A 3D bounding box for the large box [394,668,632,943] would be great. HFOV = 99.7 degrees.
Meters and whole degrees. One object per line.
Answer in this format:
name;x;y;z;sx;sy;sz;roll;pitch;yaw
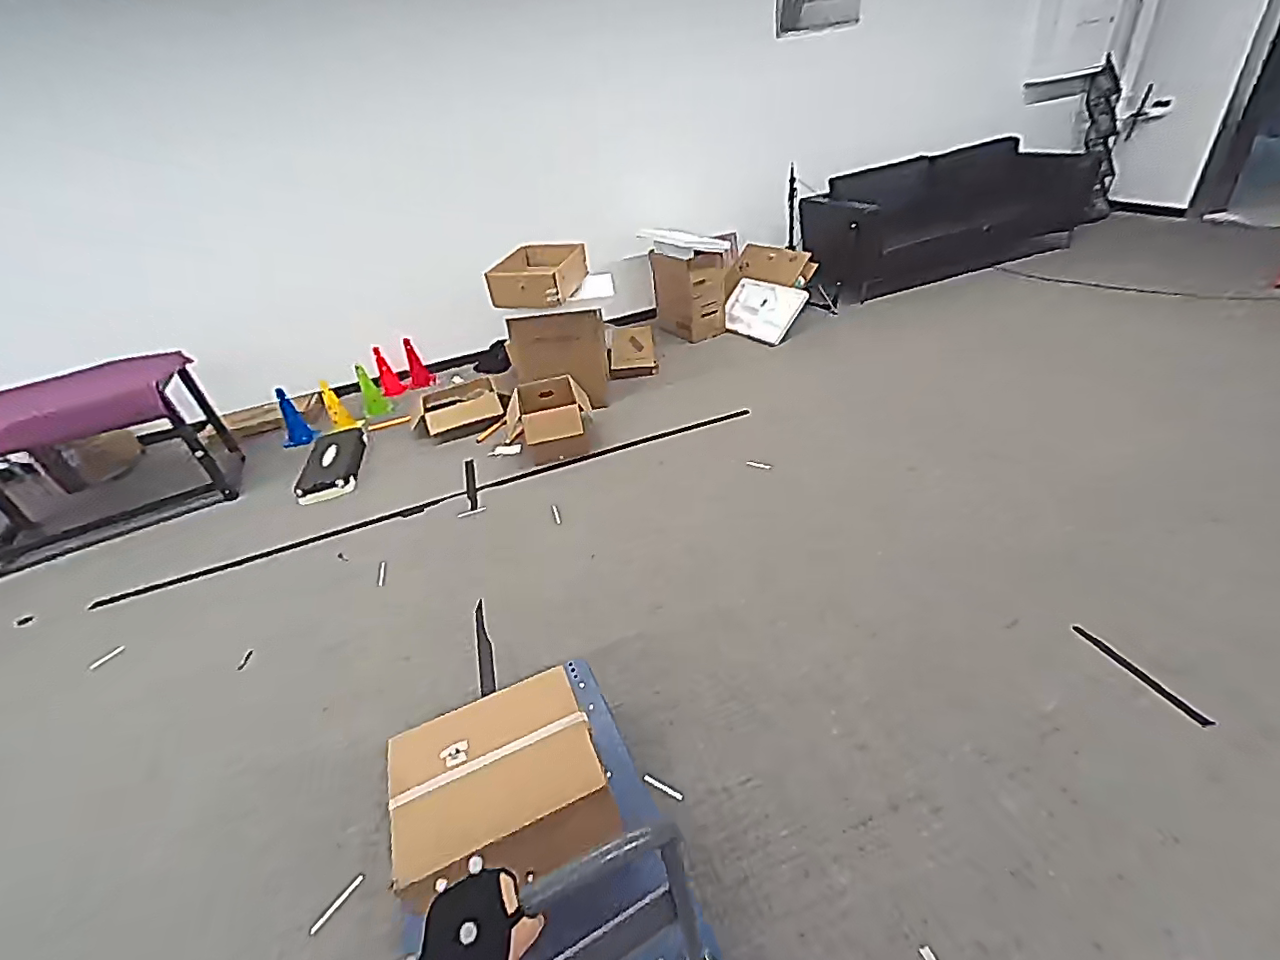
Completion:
large box;-0.276;0.704;1.199;0.408;0.320;0.320;-21;35;-14
